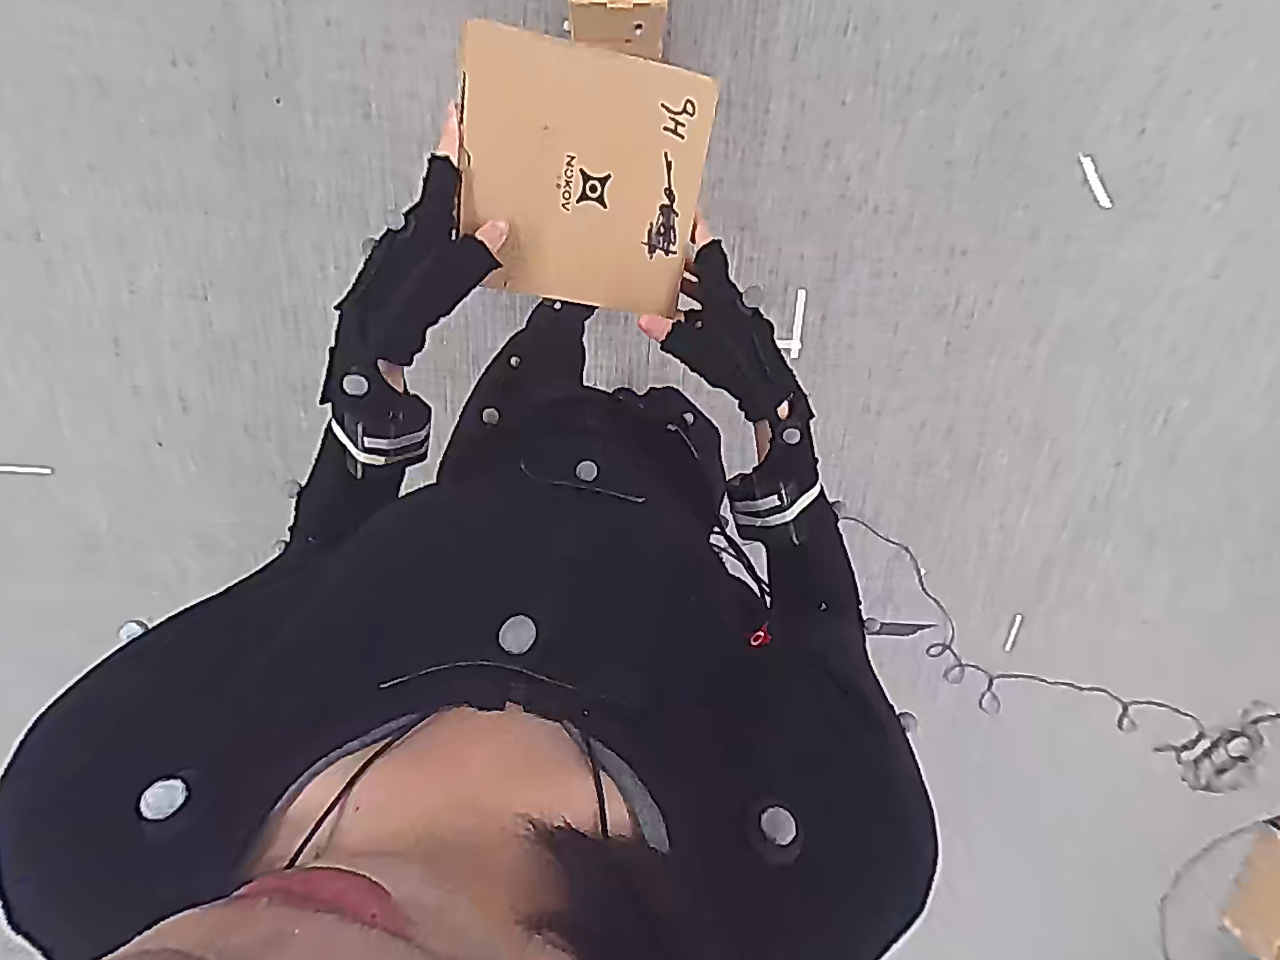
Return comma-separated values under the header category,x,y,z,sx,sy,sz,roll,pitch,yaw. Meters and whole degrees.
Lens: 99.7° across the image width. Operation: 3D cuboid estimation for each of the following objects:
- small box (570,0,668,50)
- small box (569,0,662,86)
category,x,y,z,sx,sy,sz,roll,pitch,yaw
small box,-0.039,-0.890,0.947,0.168,0.176,0.179,-2,109,-5
small box,-0.053,-0.931,1.103,0.179,0.176,0.168,-4,109,-1
